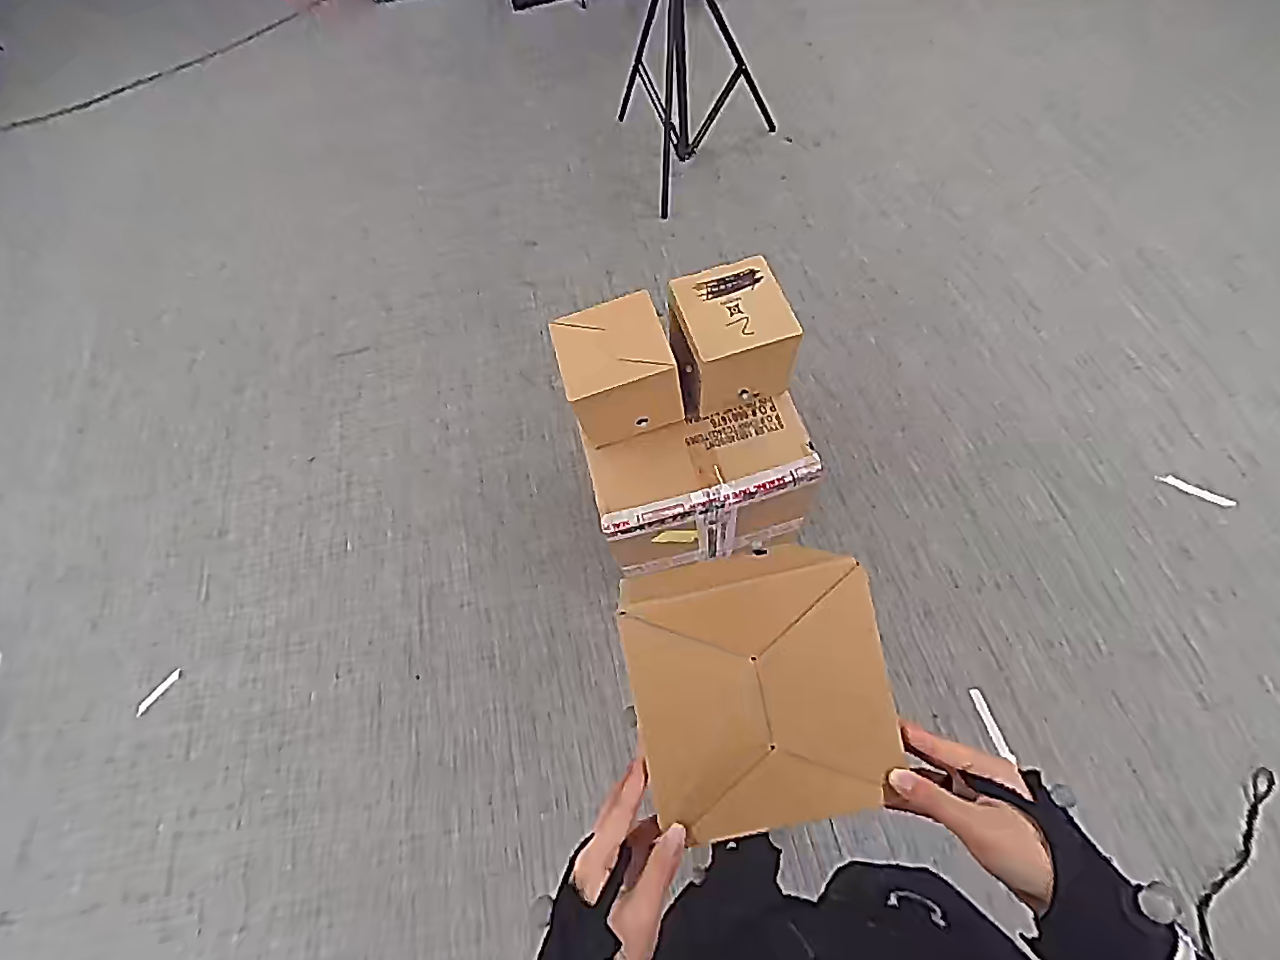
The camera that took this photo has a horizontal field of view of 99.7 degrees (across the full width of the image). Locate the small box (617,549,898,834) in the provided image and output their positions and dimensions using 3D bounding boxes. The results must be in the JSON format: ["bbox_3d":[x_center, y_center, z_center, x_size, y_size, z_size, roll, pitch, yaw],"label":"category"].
[{"bbox_3d":[0.079,0.158,0.454,0.179,0.176,0.168,-11,87,-1],"label":"small box"}]

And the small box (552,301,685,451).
[{"bbox_3d":[-0.033,-0.179,0.932,0.179,0.176,0.168,-17,65,1],"label":"small box"}]
